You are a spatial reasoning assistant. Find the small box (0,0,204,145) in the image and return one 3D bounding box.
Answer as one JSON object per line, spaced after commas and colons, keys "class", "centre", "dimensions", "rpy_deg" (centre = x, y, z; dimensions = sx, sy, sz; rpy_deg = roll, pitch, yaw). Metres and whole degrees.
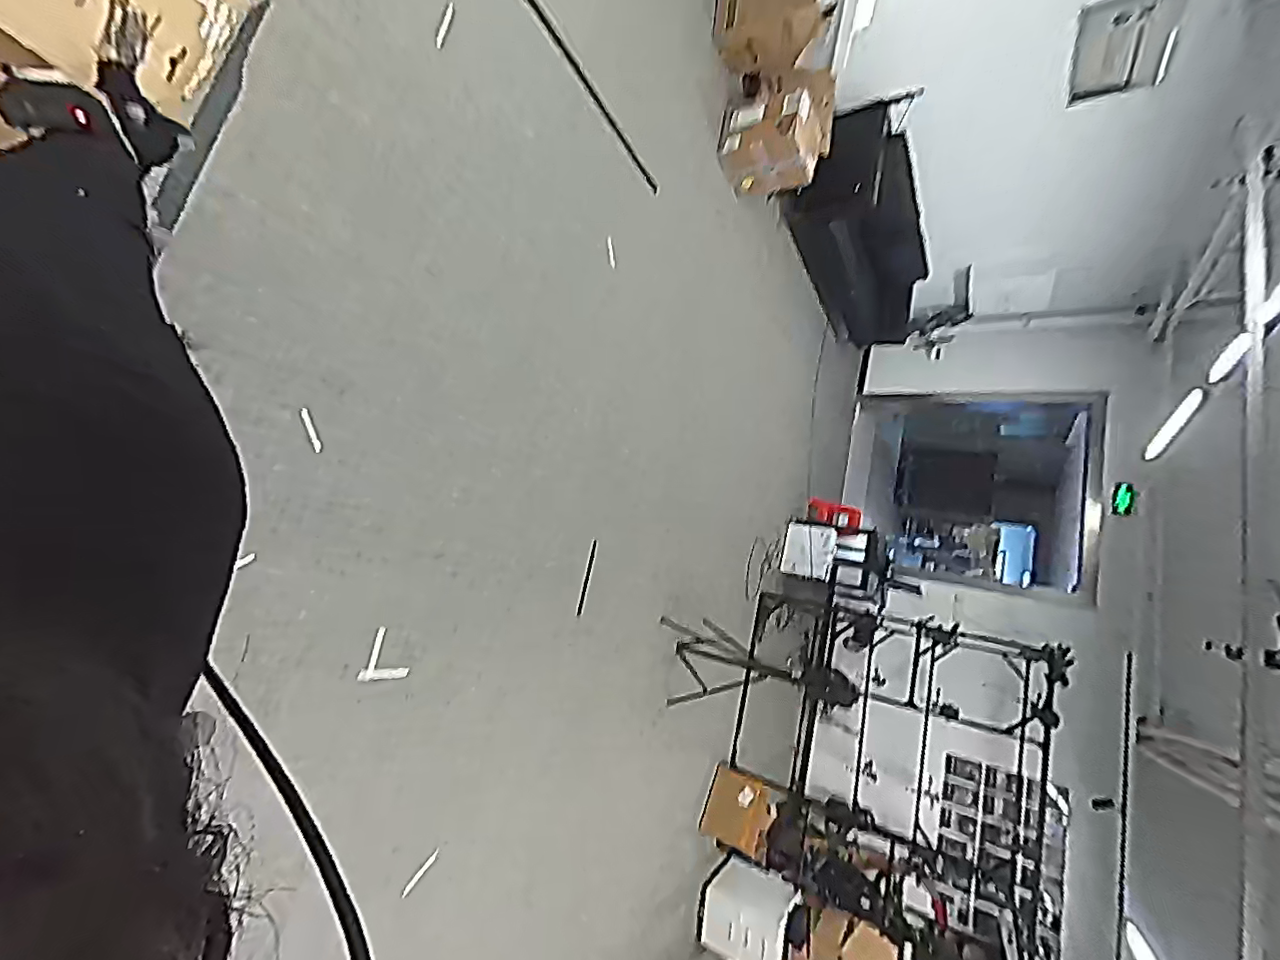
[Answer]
{"class": "small box", "centre": [-0.614, -0.485, 0.560], "dimensions": [0.179, 0.176, 0.168], "rpy_deg": [32, 68, -53]}
